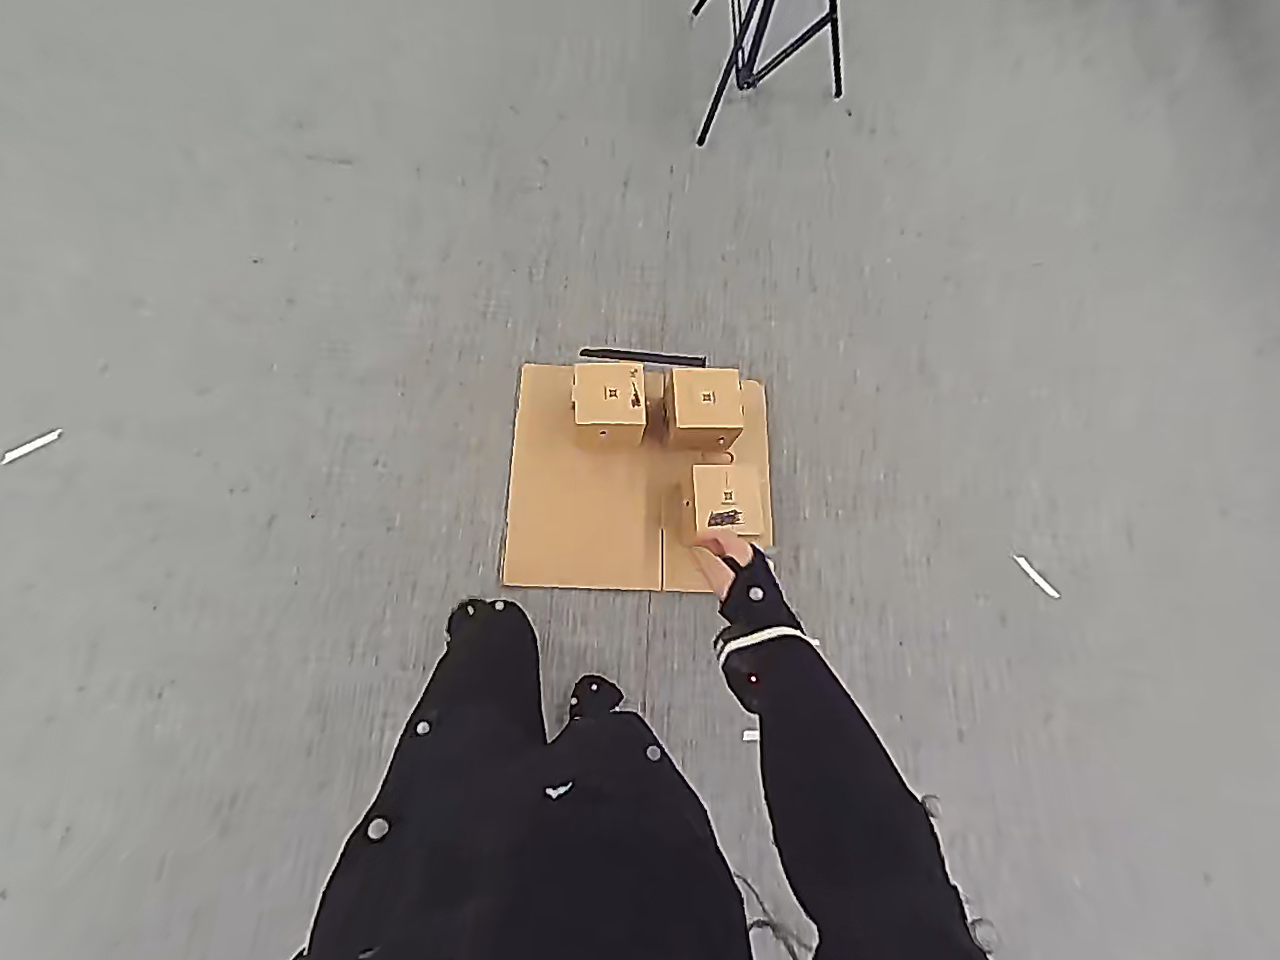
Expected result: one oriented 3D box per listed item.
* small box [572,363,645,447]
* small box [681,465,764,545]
[{"bbox_3d":[-0.082,-0.188,1.396,0.179,0.176,0.168,-1,75,-5],"label":"small box"},{"bbox_3d":[0.200,0.068,1.356,0.168,0.176,0.179,0,74,-6],"label":"small box"}]
